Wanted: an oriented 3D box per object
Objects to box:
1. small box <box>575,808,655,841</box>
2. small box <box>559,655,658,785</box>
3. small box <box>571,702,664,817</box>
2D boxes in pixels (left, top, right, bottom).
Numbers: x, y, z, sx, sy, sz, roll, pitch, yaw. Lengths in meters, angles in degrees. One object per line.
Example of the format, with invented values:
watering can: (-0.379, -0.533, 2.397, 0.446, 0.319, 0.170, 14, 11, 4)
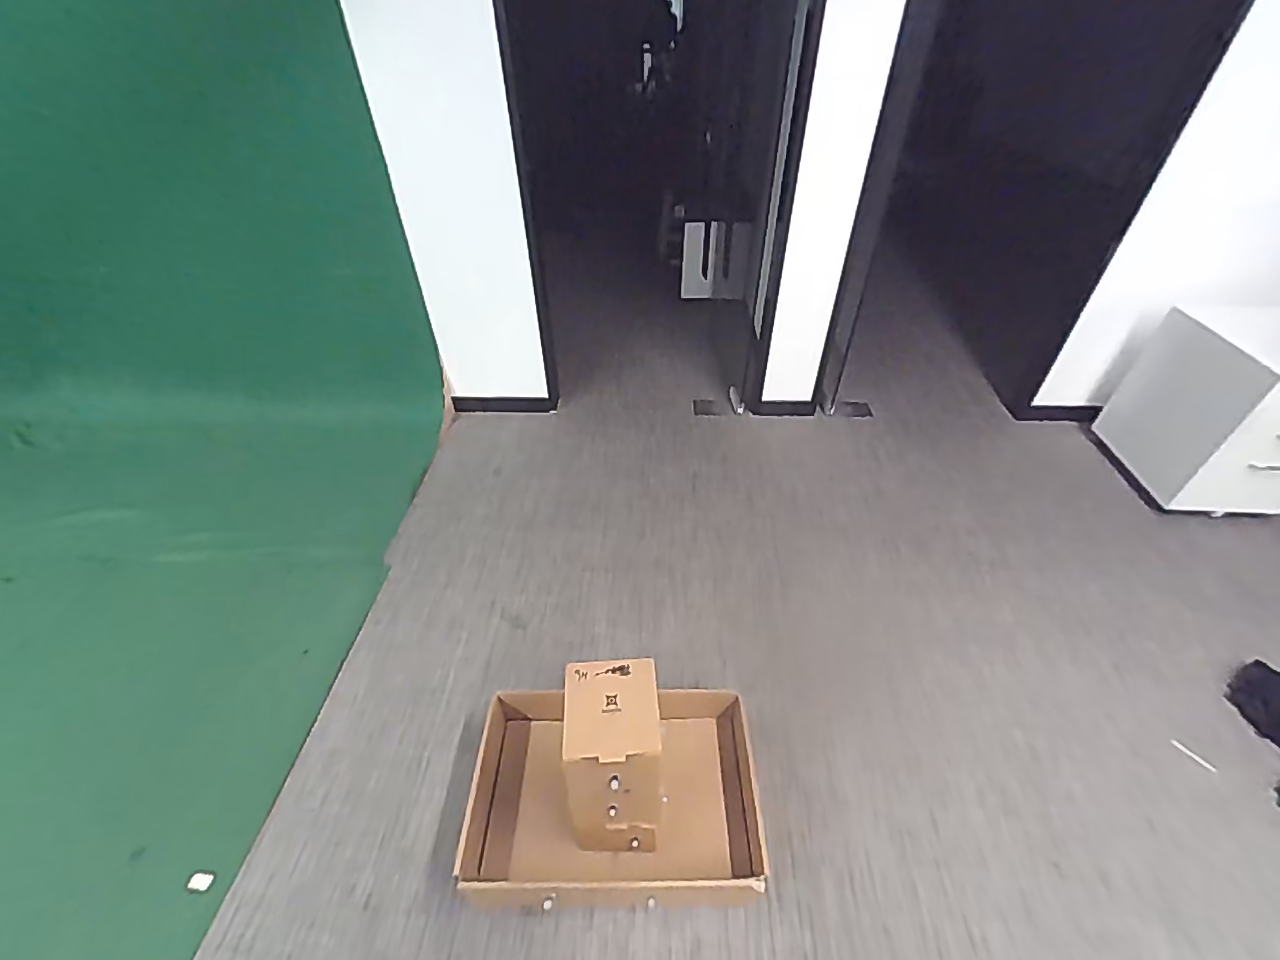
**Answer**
small box: (-0.049, 0.694, 1.221, 0.168, 0.176, 0.179, 1, 40, 1)
small box: (-0.053, 0.449, 1.004, 0.168, 0.176, 0.179, -2, 42, -2)
small box: (-0.048, 0.573, 1.110, 0.179, 0.176, 0.168, -2, 42, -3)
